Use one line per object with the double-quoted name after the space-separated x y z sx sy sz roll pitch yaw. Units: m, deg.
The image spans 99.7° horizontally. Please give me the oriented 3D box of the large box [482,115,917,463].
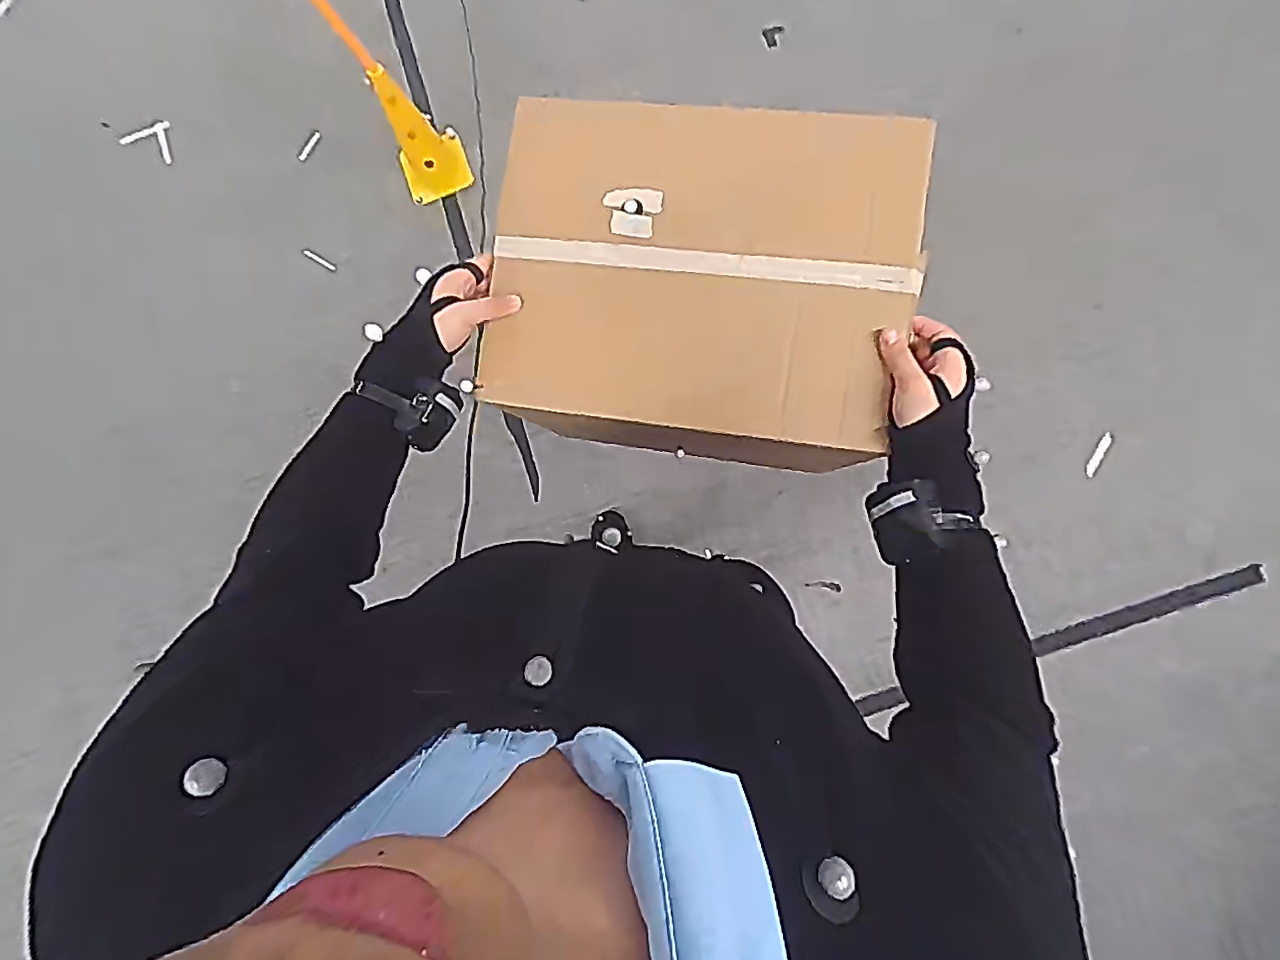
0.072 -0.201 0.677 0.408 0.320 0.320 8 87 9 "large box"
